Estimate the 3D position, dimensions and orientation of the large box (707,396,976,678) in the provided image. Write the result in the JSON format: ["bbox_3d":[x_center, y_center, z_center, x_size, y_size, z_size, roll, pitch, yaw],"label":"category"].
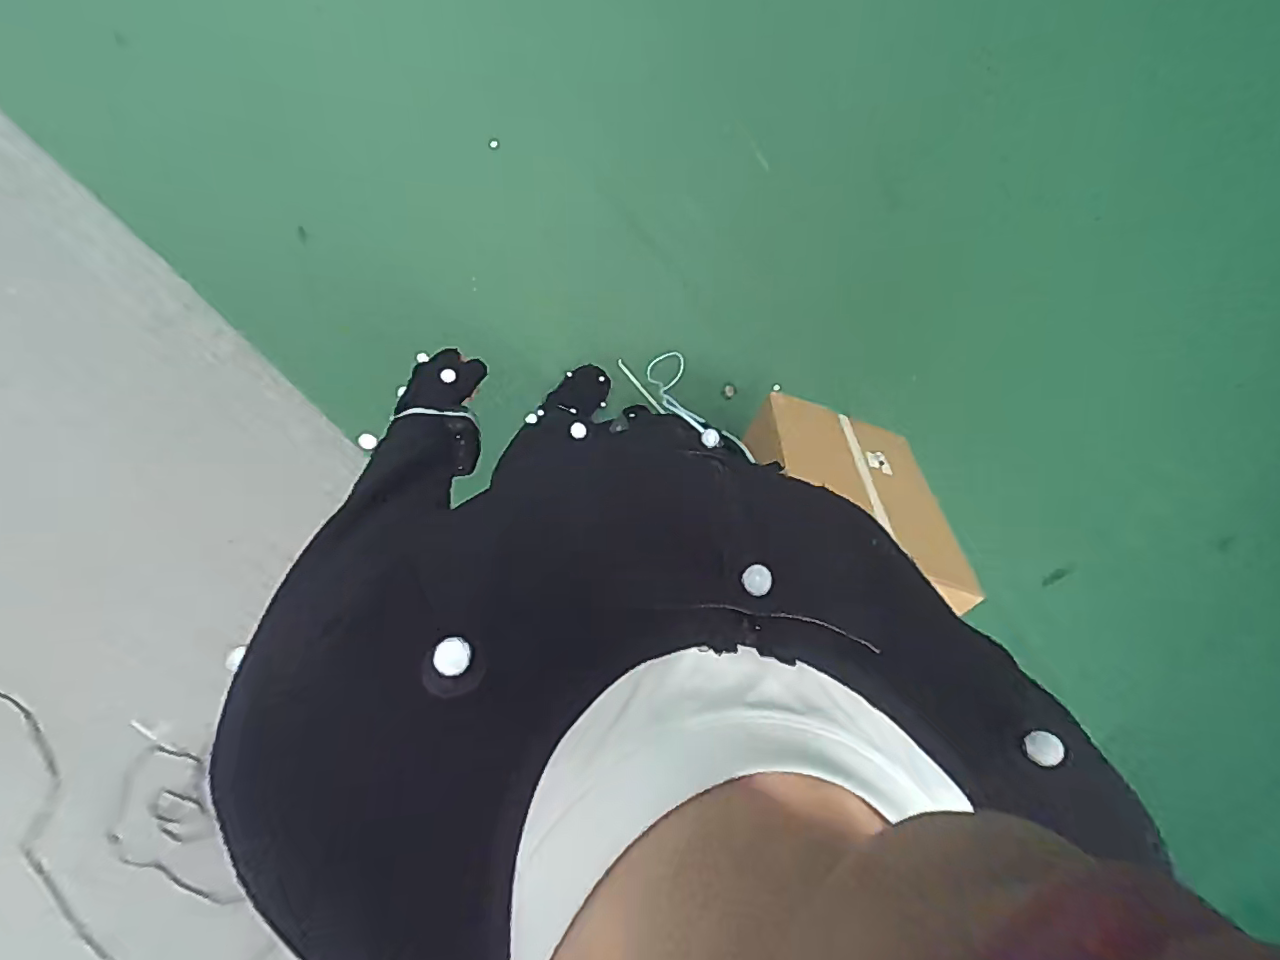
[{"bbox_3d":[0.336,0.107,1.045,0.320,0.408,0.320,17,130,-11],"label":"large box"}]
